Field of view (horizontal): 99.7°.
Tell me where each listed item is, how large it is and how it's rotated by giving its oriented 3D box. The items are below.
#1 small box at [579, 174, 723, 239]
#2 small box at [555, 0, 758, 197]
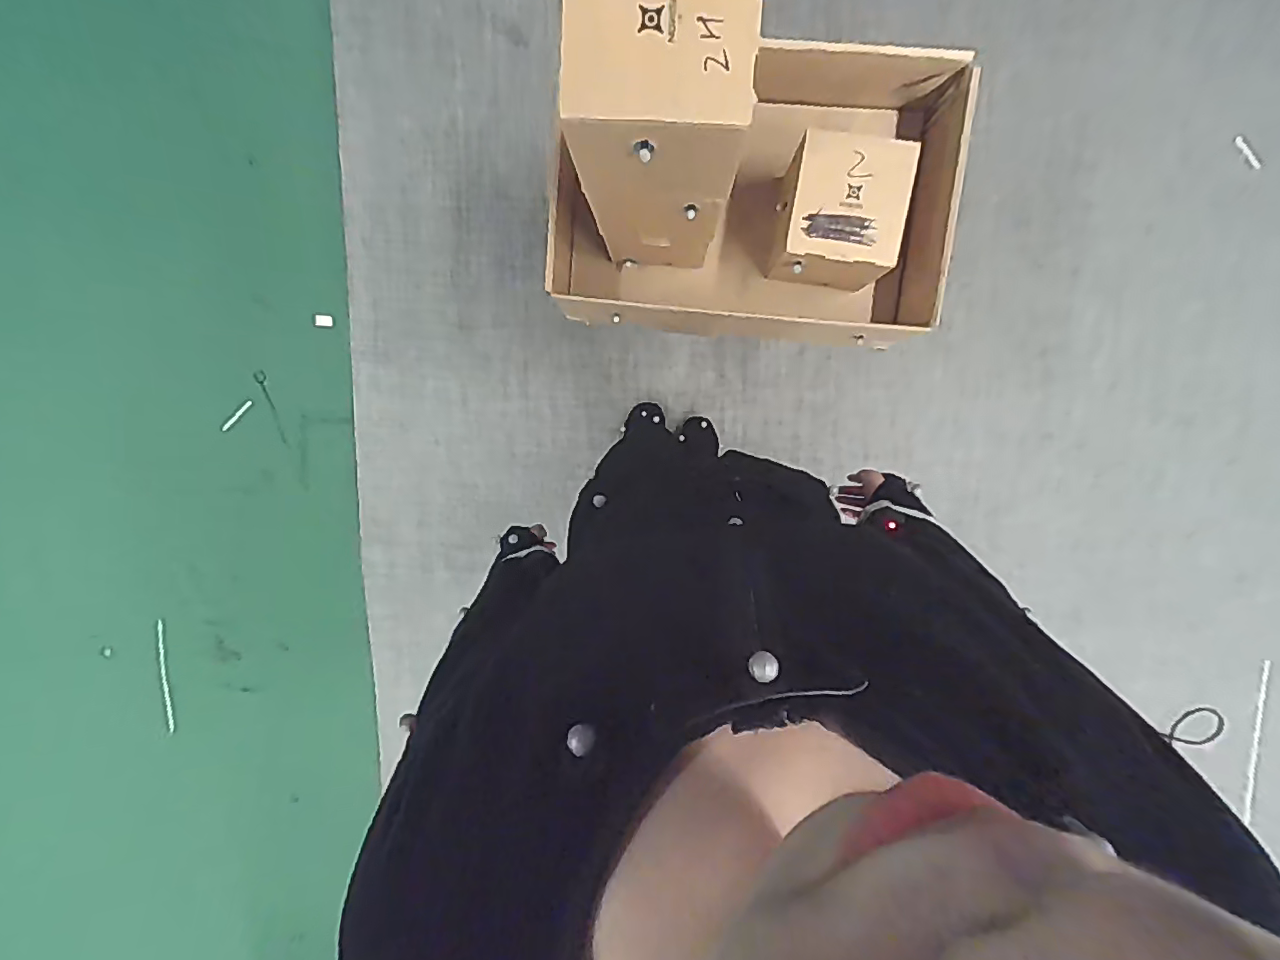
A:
[{"bbox_3d":[0.022,-0.432,0.716,0.179,0.176,0.168,4,98,1],"label":"small box"},{"bbox_3d":[0.017,-0.408,0.552,0.179,0.176,0.168,4,98,1],"label":"small box"}]
